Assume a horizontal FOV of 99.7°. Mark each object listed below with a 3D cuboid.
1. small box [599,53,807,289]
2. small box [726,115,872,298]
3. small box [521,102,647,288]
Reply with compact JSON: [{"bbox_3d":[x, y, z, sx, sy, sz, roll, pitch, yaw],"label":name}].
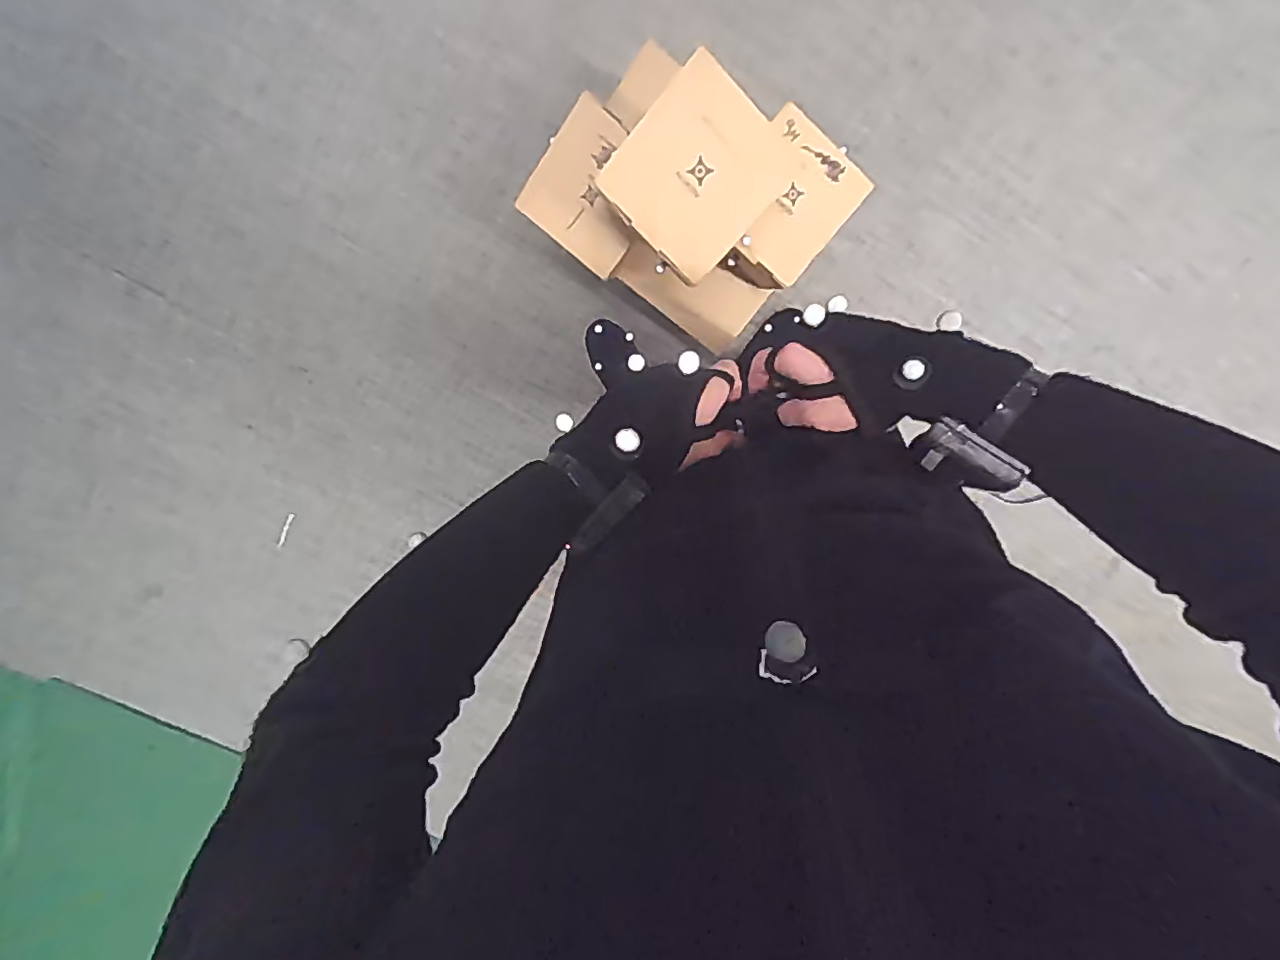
[{"bbox_3d":[0.071,-0.359,0.675,0.168,0.176,0.179,41,104,-12],"label":"small box"},{"bbox_3d":[0.210,-0.400,0.830,0.168,0.176,0.179,38,105,-10],"label":"small box"},{"bbox_3d":[-0.052,-0.421,0.830,0.168,0.176,0.179,38,108,-11],"label":"small box"}]
